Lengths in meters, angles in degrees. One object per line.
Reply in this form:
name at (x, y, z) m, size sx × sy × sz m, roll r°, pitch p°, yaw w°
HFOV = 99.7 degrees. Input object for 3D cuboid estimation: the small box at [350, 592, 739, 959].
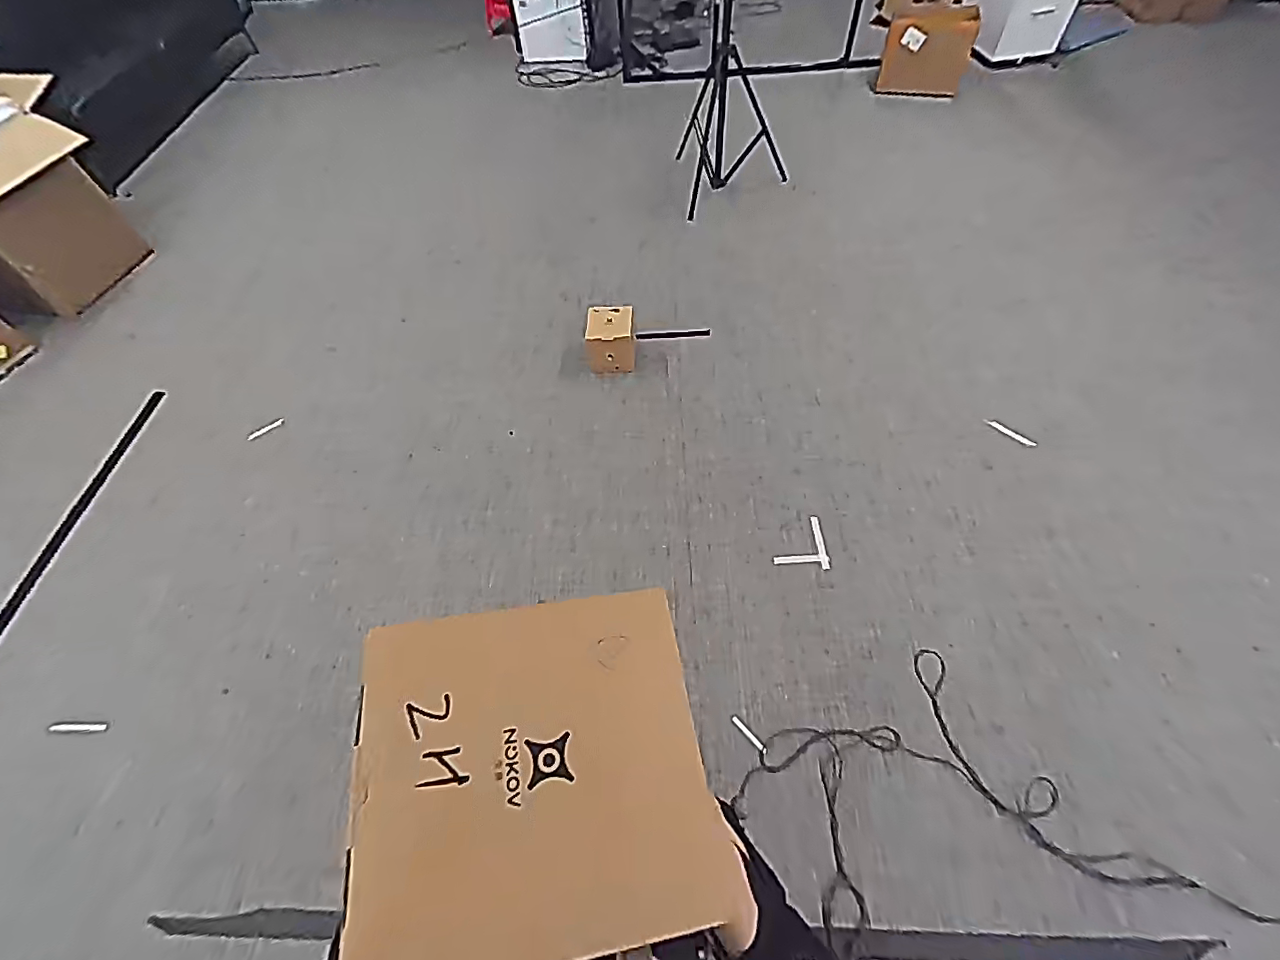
small box at (-0.058, 0.186, 0.346) m, size 0.179 × 0.176 × 0.168 m, roll -6°, pitch 58°, yaw -10°

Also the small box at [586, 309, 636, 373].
small box at (-0.104, -0.517, 2.032) m, size 0.168 × 0.176 × 0.179 m, roll 0°, pitch 57°, yaw 4°
